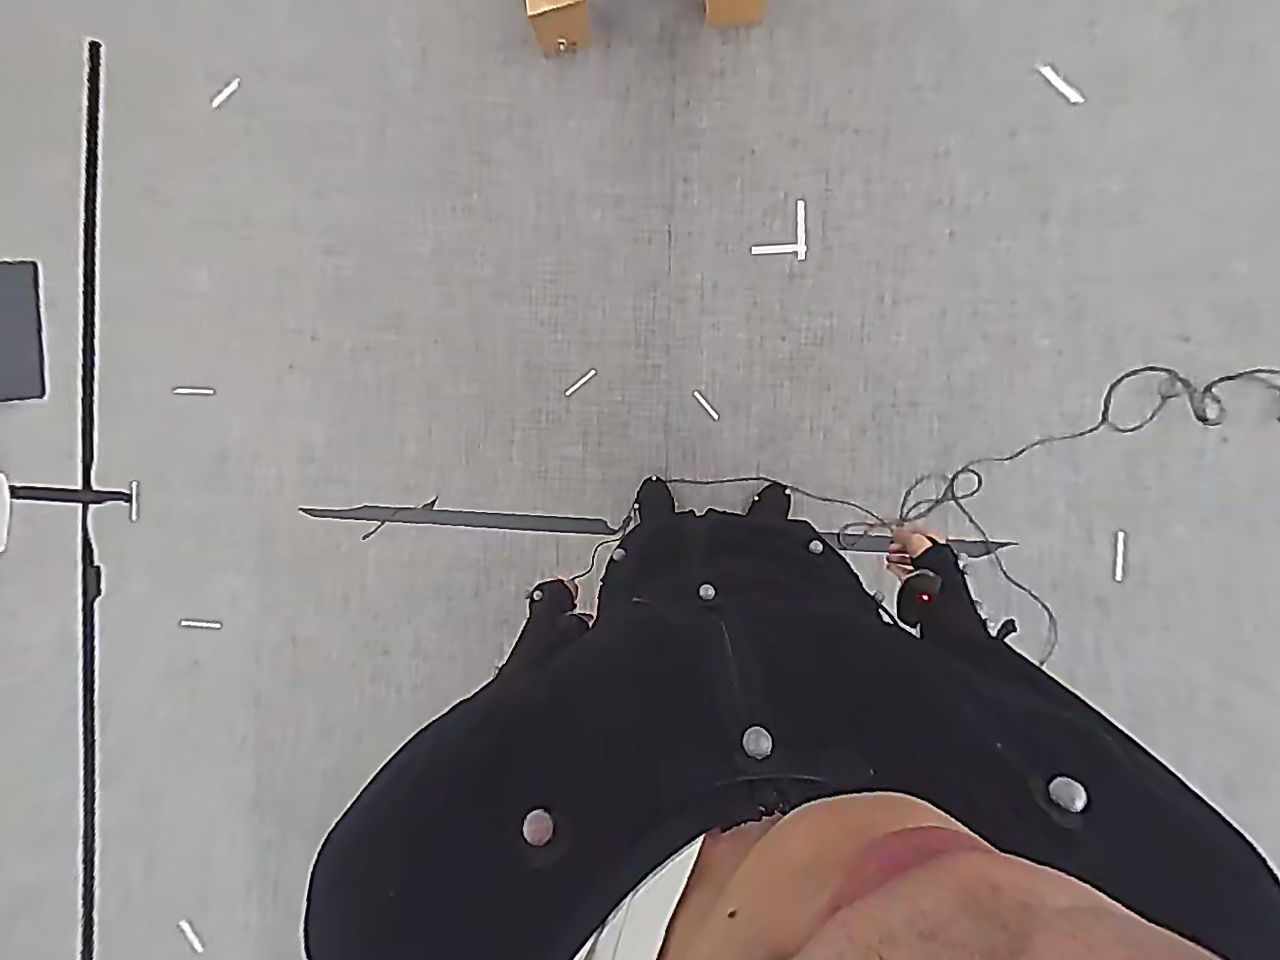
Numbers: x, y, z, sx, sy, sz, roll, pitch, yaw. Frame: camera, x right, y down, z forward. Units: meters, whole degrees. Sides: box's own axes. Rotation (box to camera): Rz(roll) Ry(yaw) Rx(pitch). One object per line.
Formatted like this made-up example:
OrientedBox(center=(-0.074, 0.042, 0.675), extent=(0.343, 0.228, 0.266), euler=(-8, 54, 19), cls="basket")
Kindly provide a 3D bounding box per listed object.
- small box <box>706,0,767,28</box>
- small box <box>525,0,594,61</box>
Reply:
OrientedBox(center=(0.276, -1.430, 1.533), extent=(0.179, 0.176, 0.168), euler=(2, 91, 7), cls="small box")
OrientedBox(center=(-0.240, -1.403, 1.600), extent=(0.168, 0.176, 0.179), euler=(-9, 89, 8), cls="small box")
